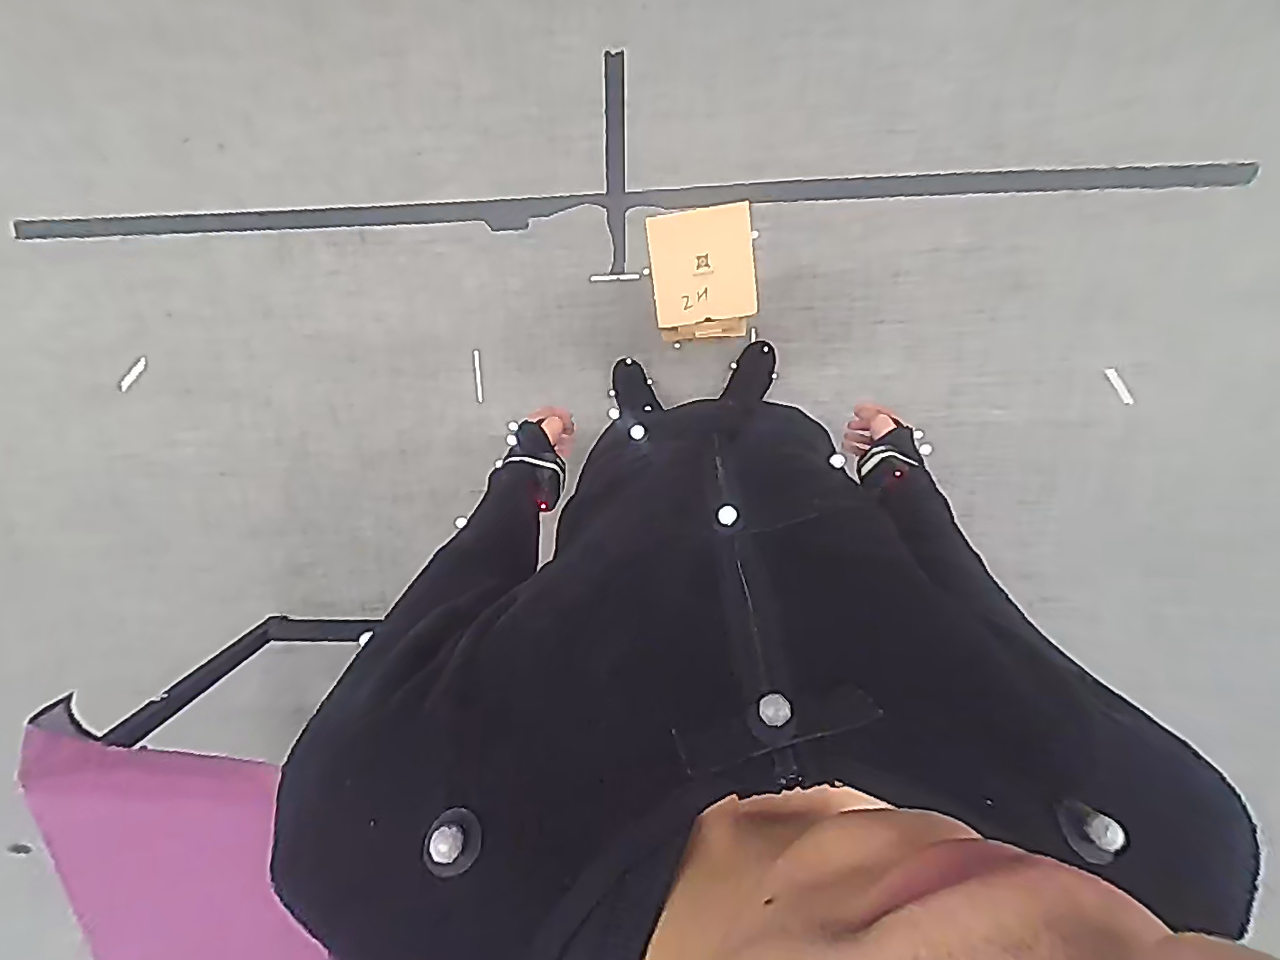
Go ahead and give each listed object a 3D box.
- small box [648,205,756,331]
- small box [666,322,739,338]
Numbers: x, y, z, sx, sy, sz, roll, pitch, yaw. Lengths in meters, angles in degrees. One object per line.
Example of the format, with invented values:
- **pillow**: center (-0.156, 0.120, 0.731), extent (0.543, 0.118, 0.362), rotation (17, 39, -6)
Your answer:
- **small box**: center (0.105, -0.362, 0.954), extent (0.168, 0.176, 0.179), rotation (-6, 106, 6)
- **small box**: center (0.147, -0.431, 1.274), extent (0.168, 0.176, 0.179), rotation (4, 107, 2)
